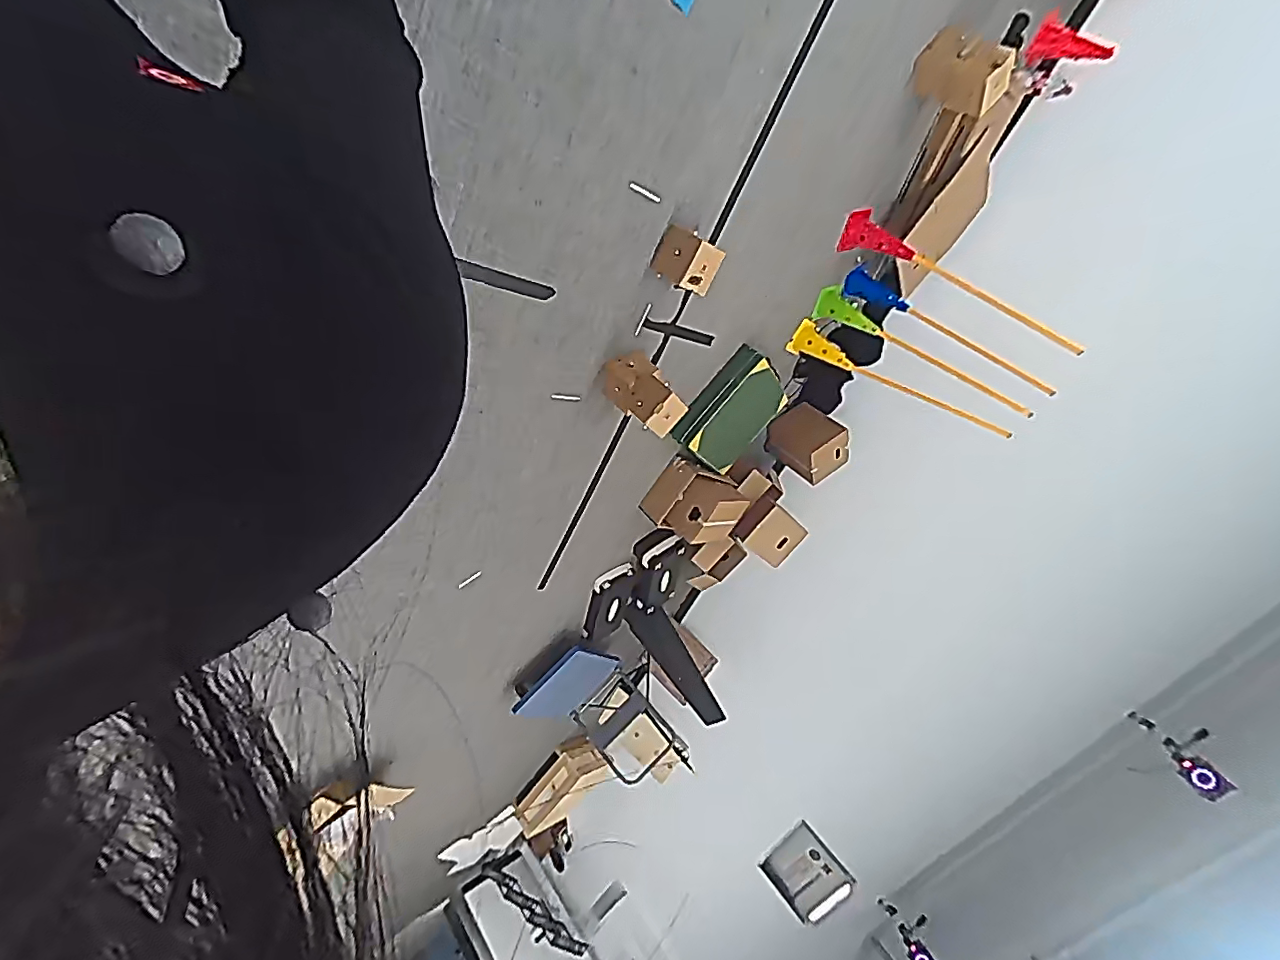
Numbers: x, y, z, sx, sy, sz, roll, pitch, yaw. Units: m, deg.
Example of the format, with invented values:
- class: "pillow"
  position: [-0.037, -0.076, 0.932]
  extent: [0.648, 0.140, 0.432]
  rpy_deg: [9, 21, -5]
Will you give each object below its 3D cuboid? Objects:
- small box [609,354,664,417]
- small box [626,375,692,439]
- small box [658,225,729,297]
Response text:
- class: "small box"
  position: [-0.018, -0.404, 2.267]
  extent: [0.168, 0.176, 0.179]
  rpy_deg: [-31, 148, -24]
- class: "small box"
  position: [0.073, -0.298, 2.177]
  extent: [0.168, 0.176, 0.179]
  rpy_deg: [-47, 151, 6]
- class: "small box"
  position: [0.194, -0.817, 2.022]
  extent: [0.168, 0.176, 0.179]
  rpy_deg: [-2, 128, -51]
